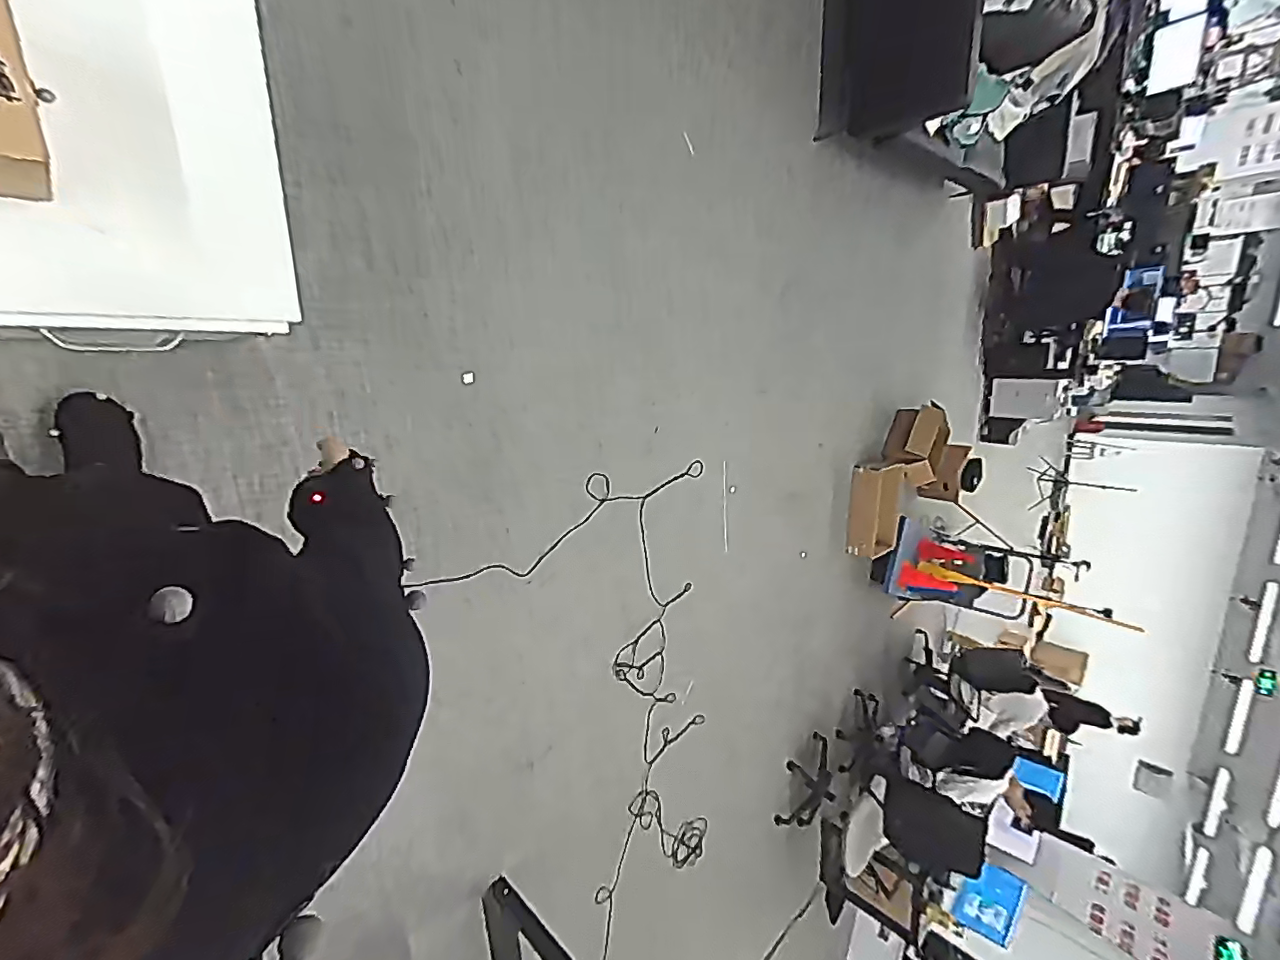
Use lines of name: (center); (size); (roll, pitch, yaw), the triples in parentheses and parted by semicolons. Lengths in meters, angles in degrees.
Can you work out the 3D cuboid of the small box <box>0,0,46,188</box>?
small box: (-0.660, -0.370, 0.466); (0.179, 0.176, 0.168); (-15, 109, -44)
